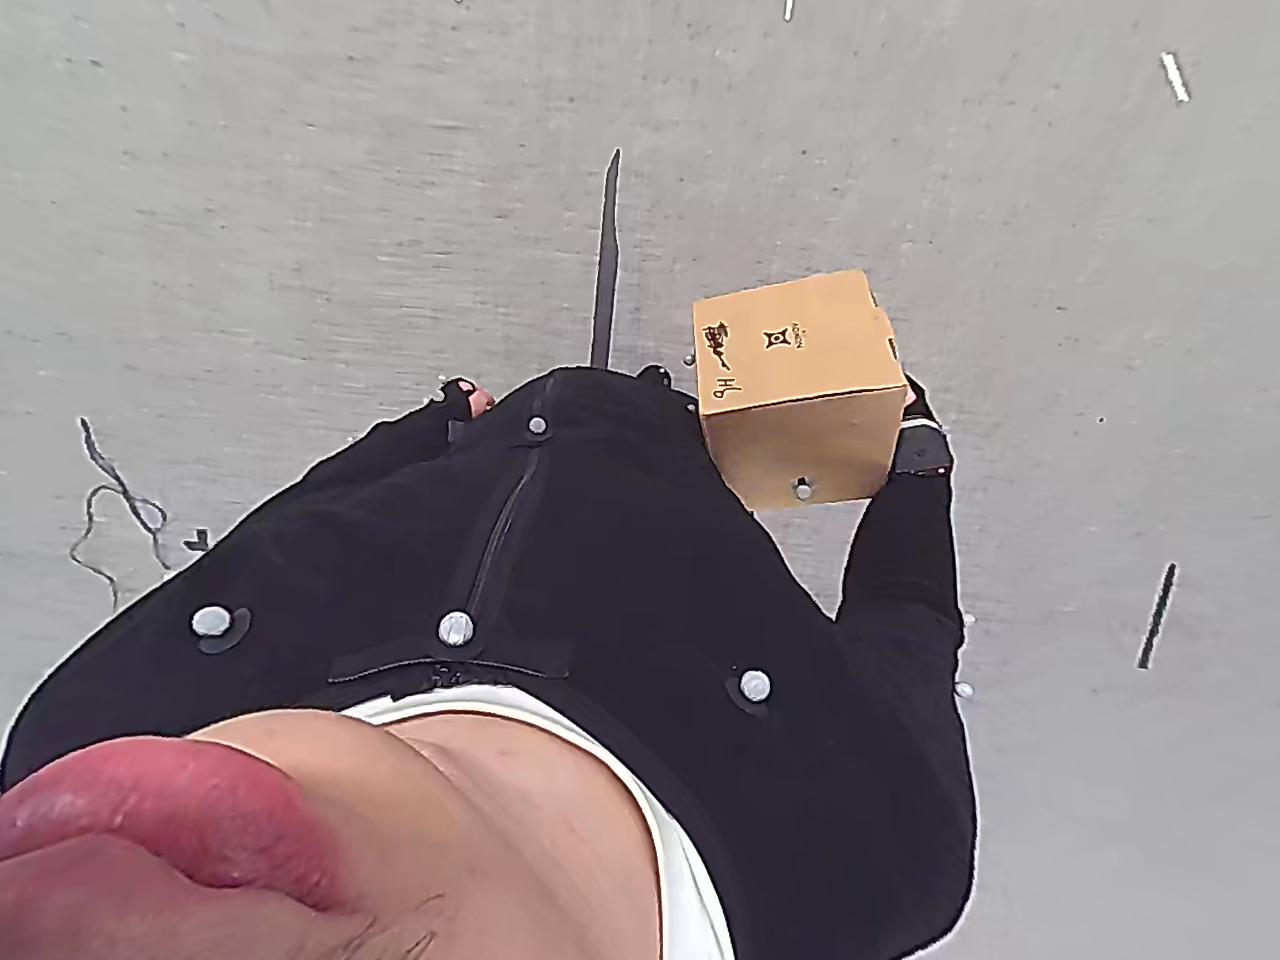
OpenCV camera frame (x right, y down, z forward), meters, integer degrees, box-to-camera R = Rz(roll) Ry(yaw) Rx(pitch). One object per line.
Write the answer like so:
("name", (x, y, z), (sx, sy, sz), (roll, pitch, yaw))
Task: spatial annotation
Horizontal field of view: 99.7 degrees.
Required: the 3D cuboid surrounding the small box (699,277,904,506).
("small box", (0.163, -0.089, 0.592), (0.179, 0.168, 0.176), (-7, 142, 11))
